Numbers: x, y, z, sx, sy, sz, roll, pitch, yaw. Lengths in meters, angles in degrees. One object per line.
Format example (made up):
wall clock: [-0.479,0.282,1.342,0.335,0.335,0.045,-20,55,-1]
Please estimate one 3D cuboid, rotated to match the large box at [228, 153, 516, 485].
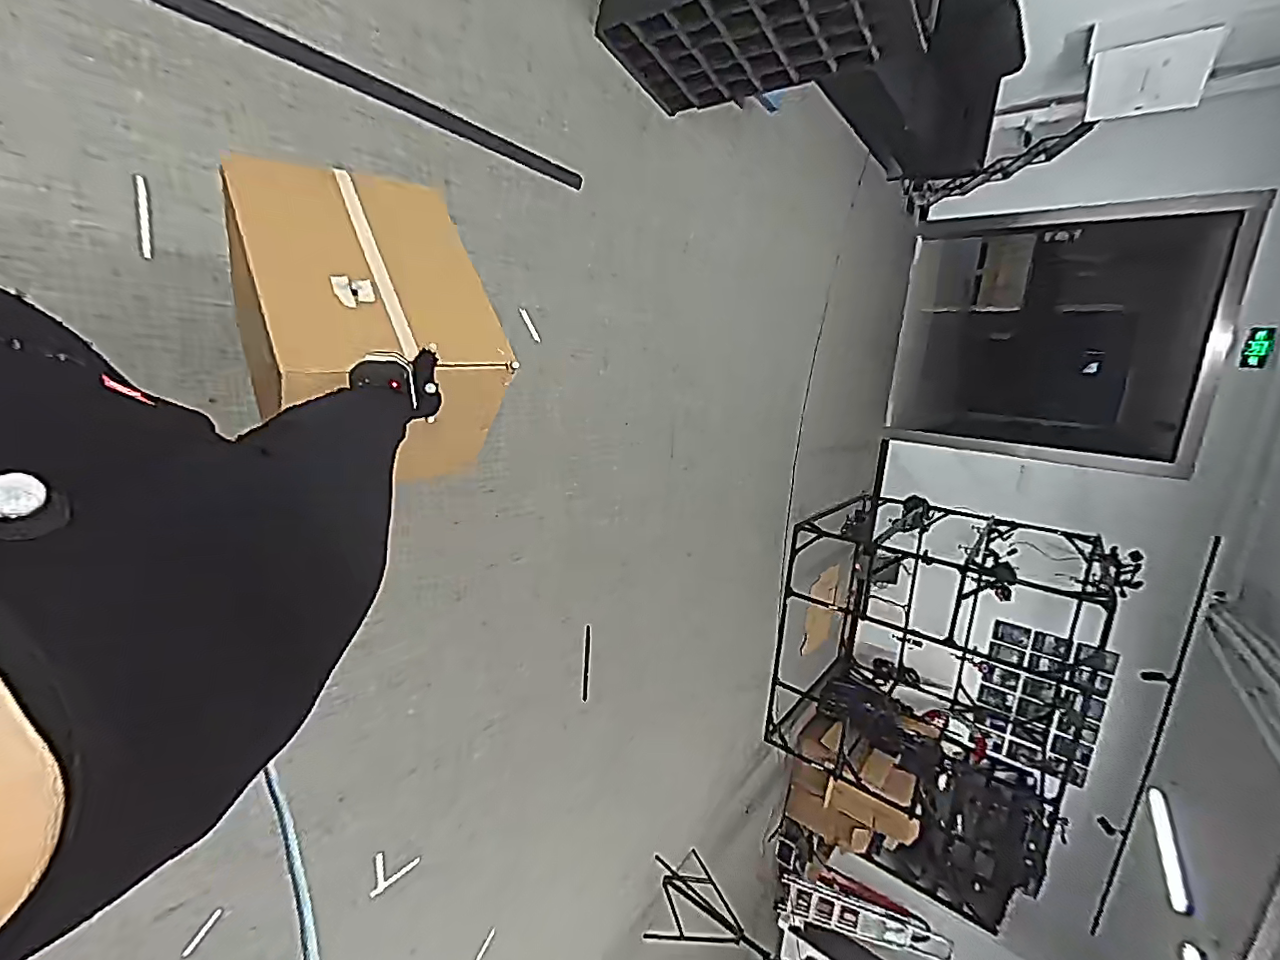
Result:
large box: [-0.467,-0.252,0.921,0.320,0.320,0.408,-12,68,-38]
